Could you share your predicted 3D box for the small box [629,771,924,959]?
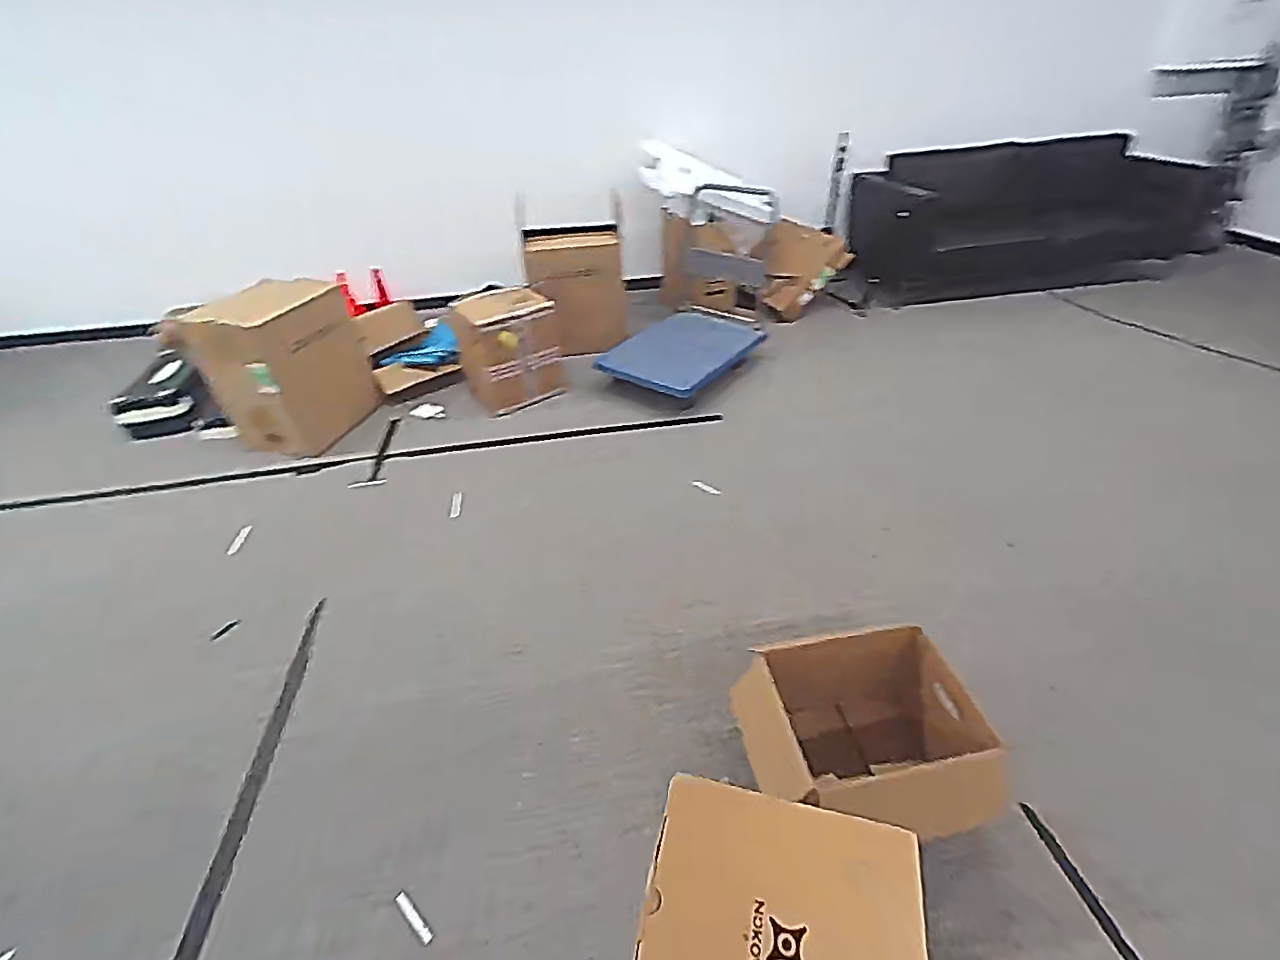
[{"bbox_3d":[0.092,0.344,0.391,0.179,0.176,0.168,5,44,14],"label":"small box"}]
